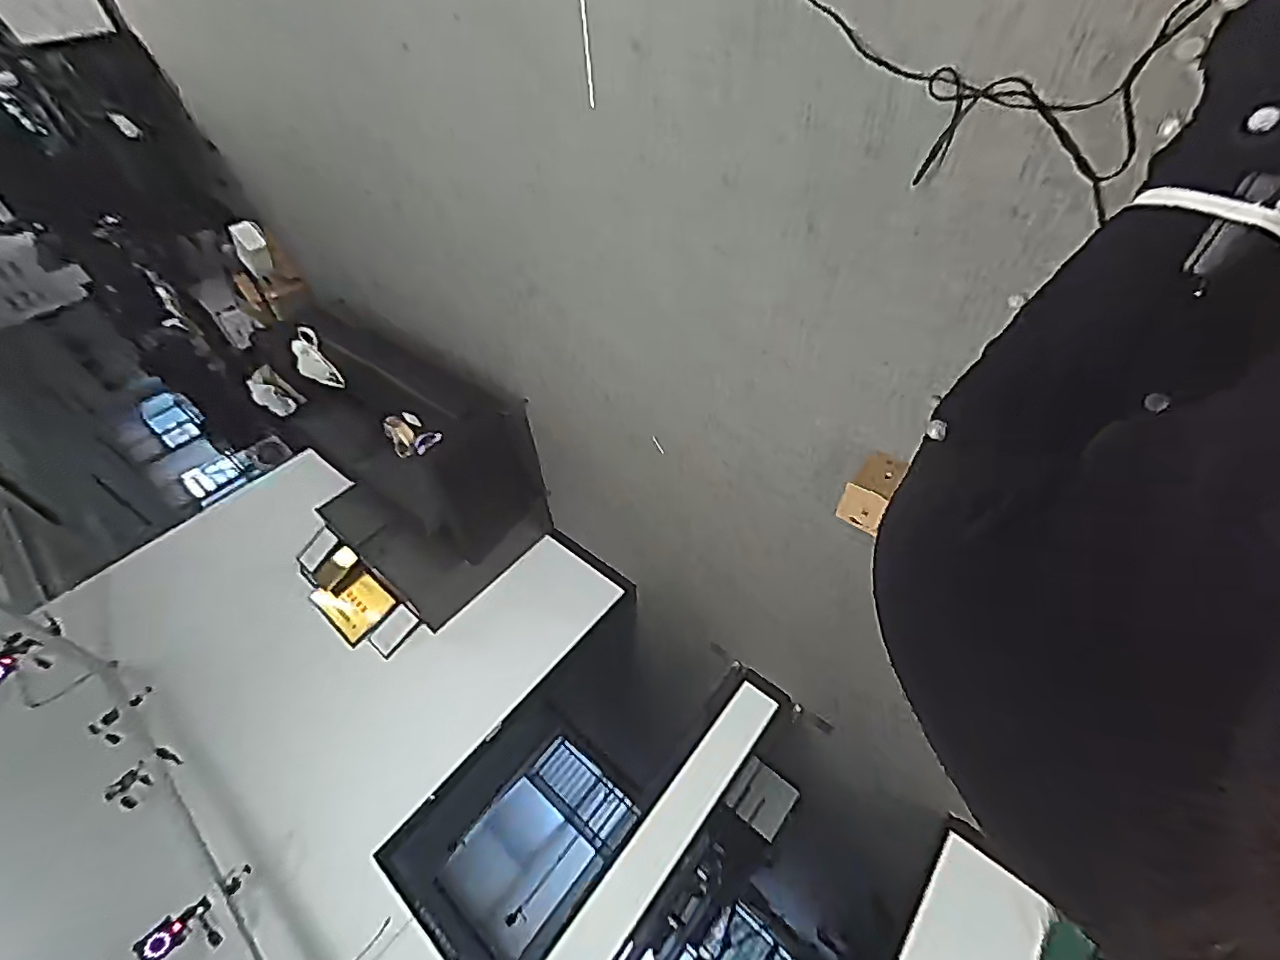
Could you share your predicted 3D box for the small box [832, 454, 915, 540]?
[{"bbox_3d":[0.741,0.048,1.709,0.168,0.176,0.179,33,147,25],"label":"small box"}]
